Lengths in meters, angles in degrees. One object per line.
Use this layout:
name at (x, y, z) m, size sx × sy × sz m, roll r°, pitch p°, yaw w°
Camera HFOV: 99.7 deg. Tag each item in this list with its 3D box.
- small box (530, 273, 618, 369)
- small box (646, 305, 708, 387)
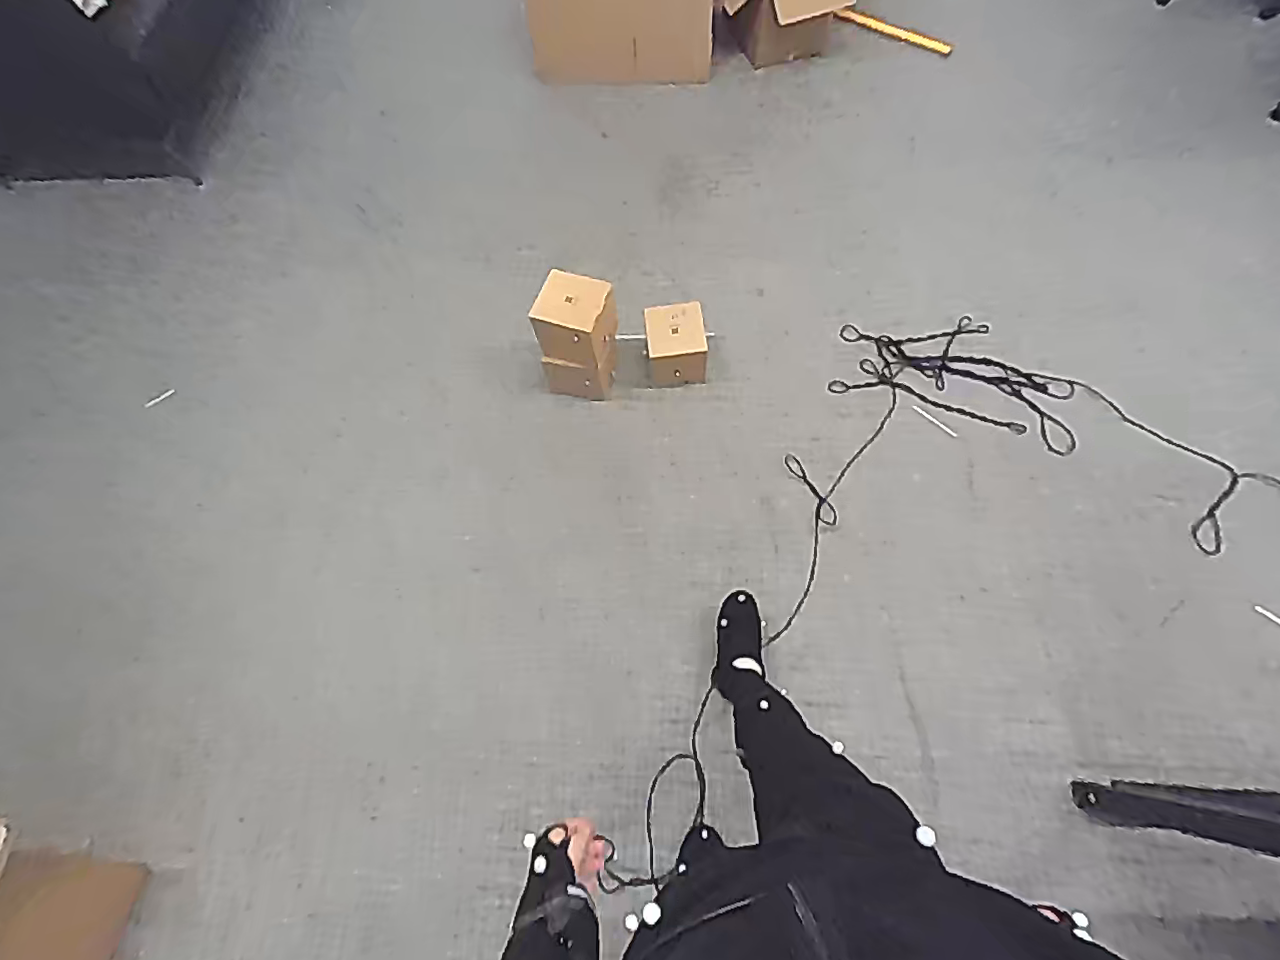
small box at (-0.170, -0.426, 1.470) m, size 0.179 × 0.176 × 0.168 m, roll 17°, pitch 69°, yaw 10°
small box at (0.110, -0.389, 1.606) m, size 0.168 × 0.176 × 0.179 m, roll -6°, pitch 67°, yaw 2°
